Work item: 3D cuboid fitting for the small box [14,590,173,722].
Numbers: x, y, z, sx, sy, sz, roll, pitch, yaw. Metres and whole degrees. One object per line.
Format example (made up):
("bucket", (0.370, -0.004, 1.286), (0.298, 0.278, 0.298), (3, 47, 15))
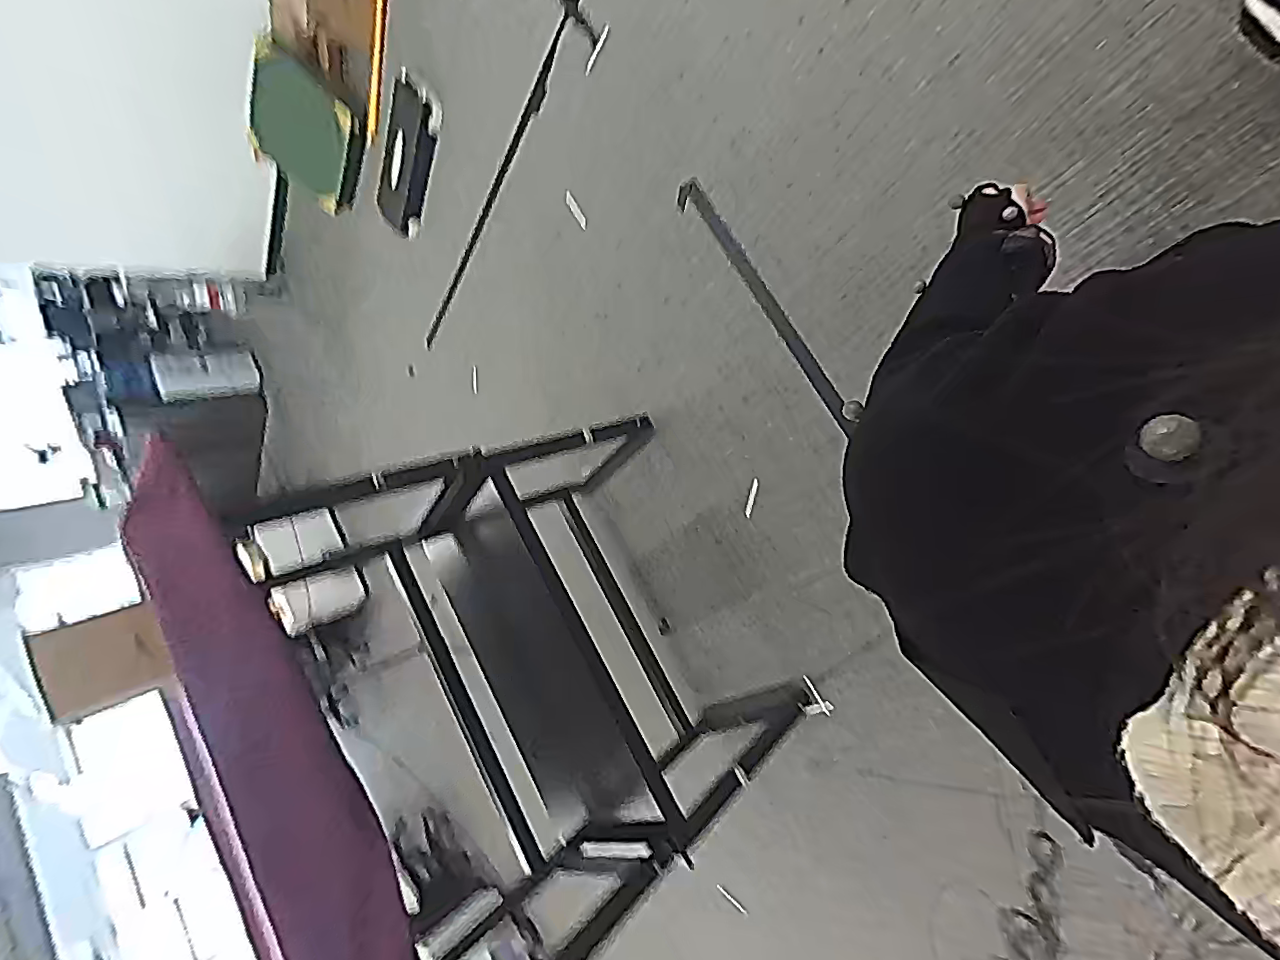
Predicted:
("small box", (-1.004, 0.320, 1.007), (0.168, 0.176, 0.179), (-34, 79, 45))
